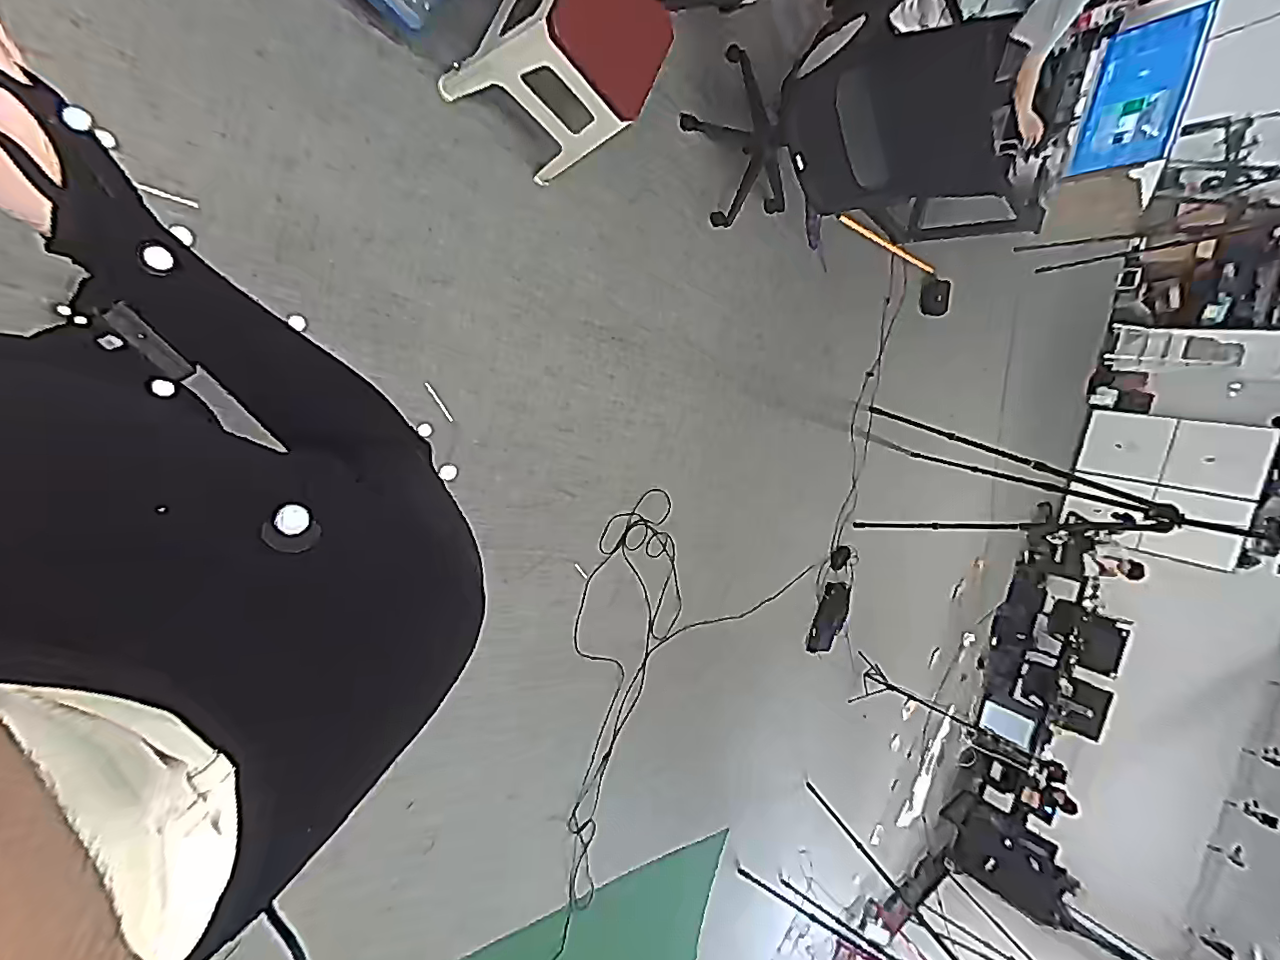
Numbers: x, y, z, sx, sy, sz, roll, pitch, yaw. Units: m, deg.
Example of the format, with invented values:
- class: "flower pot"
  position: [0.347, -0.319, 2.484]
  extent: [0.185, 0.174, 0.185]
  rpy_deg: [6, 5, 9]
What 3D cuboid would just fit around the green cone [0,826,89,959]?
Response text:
- class: "green cone"
  position: [-1.295, 0.946, 1.111]
  extent: [0.202, 0.368, 0.200]
  rpy_deg: [10, 96, -45]
